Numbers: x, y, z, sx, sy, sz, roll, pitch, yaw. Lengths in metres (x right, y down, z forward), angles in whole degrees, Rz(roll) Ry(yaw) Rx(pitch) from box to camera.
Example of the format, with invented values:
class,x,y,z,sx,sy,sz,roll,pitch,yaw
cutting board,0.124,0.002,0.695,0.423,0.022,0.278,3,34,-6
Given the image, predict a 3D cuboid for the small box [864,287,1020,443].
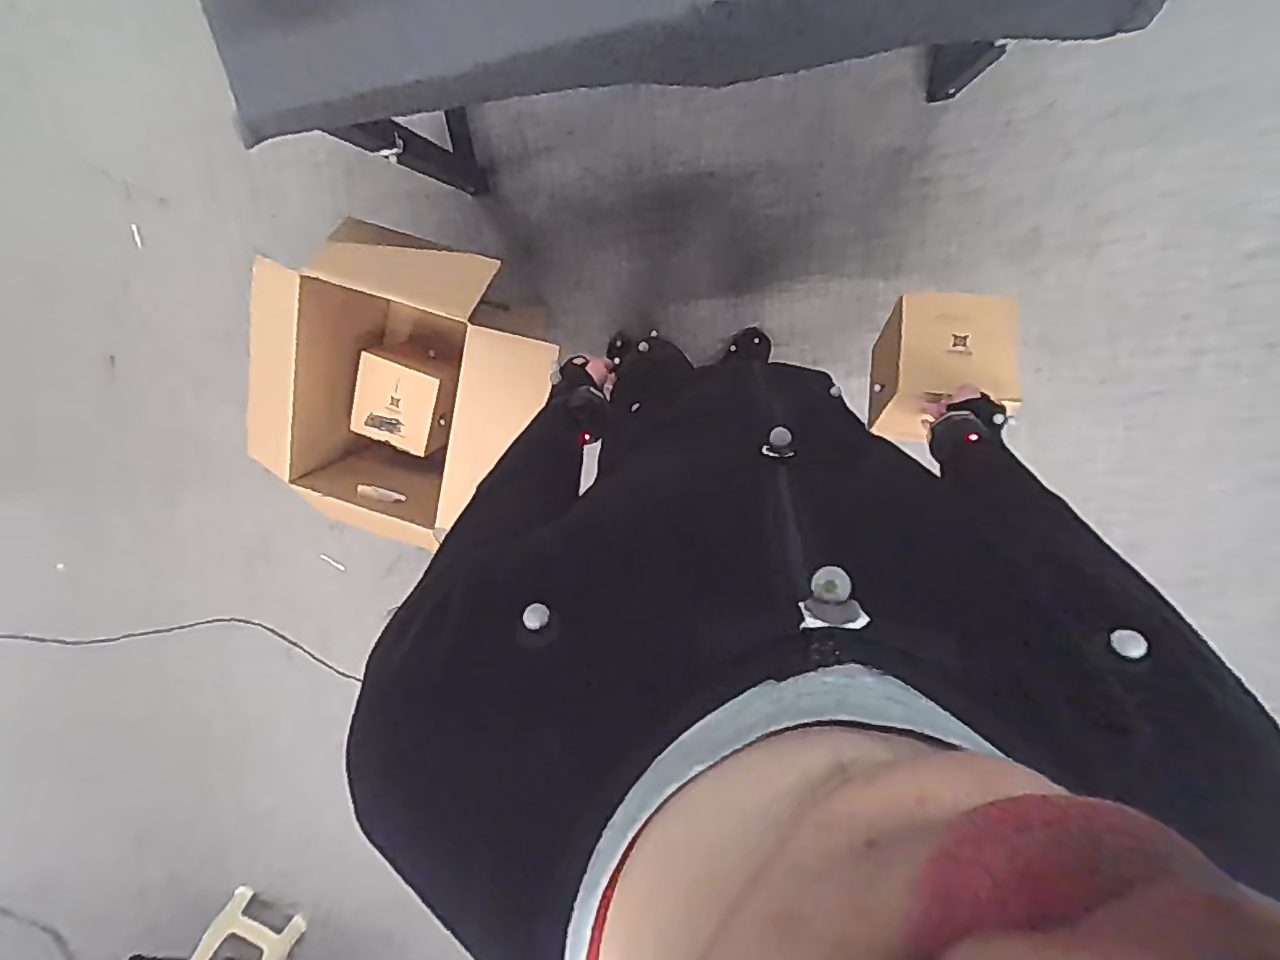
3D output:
class,x,y,z,sx,sy,sz,roll,pitch,yaw
small box,0.462,-0.173,0.849,0.168,0.176,0.179,8,72,8
